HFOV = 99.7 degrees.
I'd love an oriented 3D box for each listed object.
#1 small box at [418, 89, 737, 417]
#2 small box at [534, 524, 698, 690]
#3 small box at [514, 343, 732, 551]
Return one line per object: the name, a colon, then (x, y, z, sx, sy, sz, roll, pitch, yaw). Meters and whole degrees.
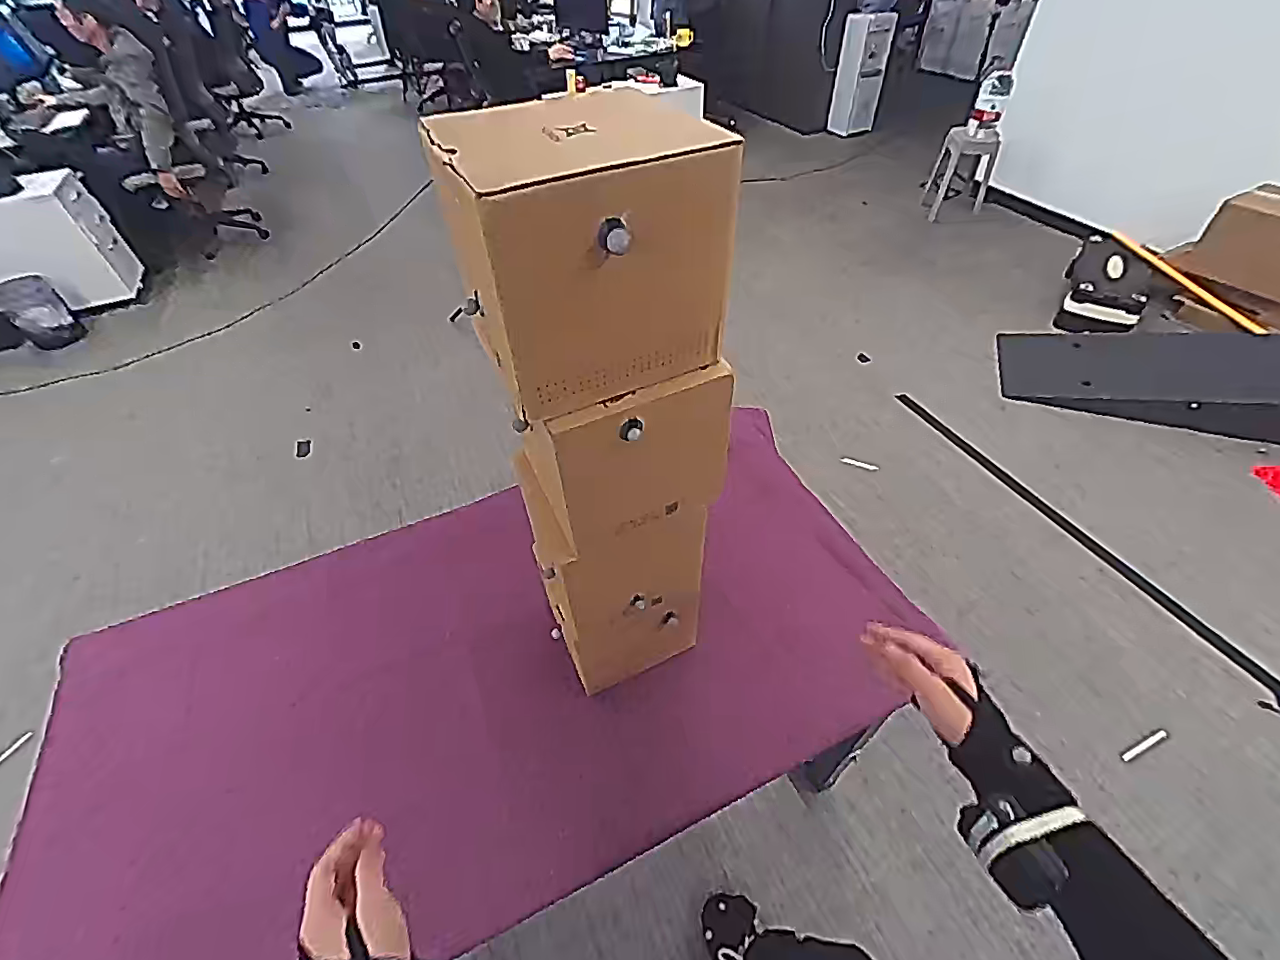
small box: (-0.047, -0.179, 0.426, 0.179, 0.176, 0.168, -22, 50, -16)
small box: (-0.033, 0.166, 0.775, 0.179, 0.176, 0.168, -21, 49, -15)
small box: (-0.029, -0.062, 0.540, 0.168, 0.176, 0.179, -21, 49, -15)
